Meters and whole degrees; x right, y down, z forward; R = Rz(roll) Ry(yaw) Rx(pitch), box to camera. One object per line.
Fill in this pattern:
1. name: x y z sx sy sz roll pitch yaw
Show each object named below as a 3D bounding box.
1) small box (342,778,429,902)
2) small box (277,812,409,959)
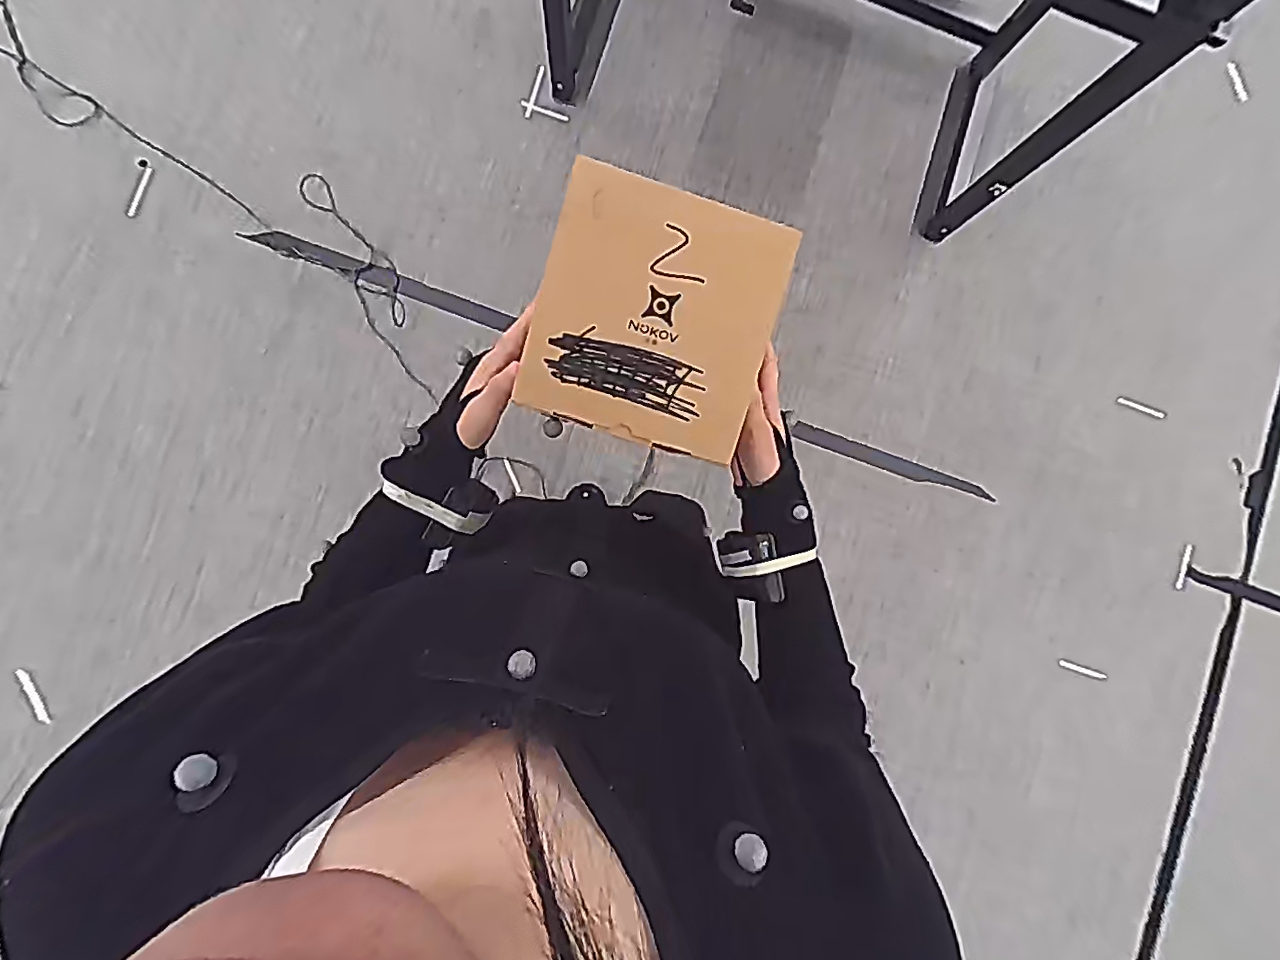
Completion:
1. small box: -0.643 0.879 1.334 0.168 0.176 0.179 18 86 -5
2. small box: -0.630 0.873 1.172 0.168 0.176 0.179 21 85 -4
